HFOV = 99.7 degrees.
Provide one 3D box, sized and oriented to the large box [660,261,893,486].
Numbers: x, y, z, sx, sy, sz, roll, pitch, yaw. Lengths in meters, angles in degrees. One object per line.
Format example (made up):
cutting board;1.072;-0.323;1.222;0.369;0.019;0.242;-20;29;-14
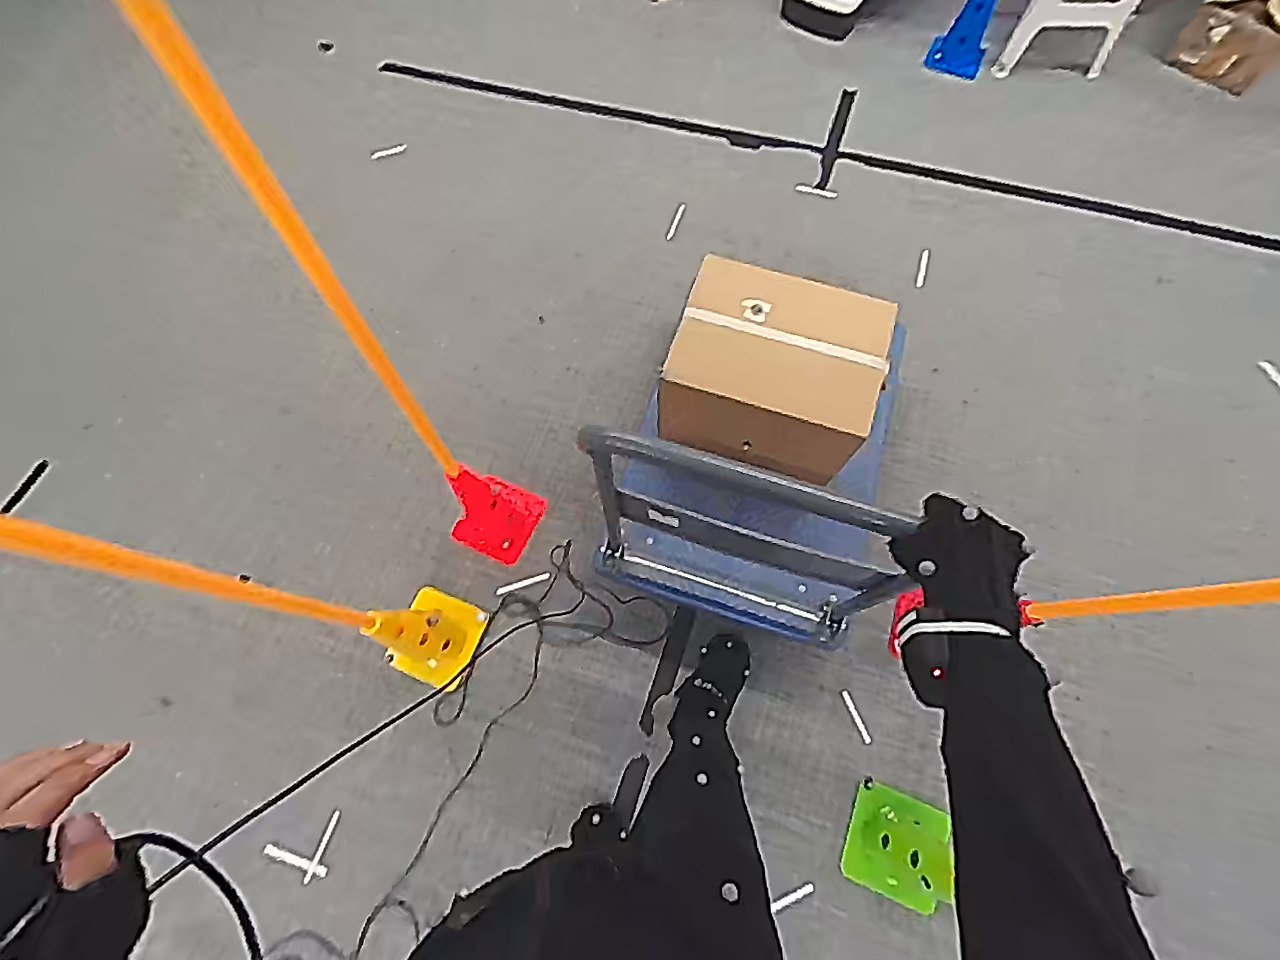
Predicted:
large box;0.282;-0.220;1.207;0.408;0.320;0.320;18;72;8

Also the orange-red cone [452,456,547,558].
orange-red cone;-0.373;0.028;1.285;0.198;0.360;0.199;25;71;9

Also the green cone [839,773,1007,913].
green cone;0.545;0.712;1.005;0.202;0.368;0.200;22;72;8

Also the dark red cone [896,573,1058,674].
dark red cone;0.723;0.282;1.143;0.201;0.394;0.202;18;71;6
